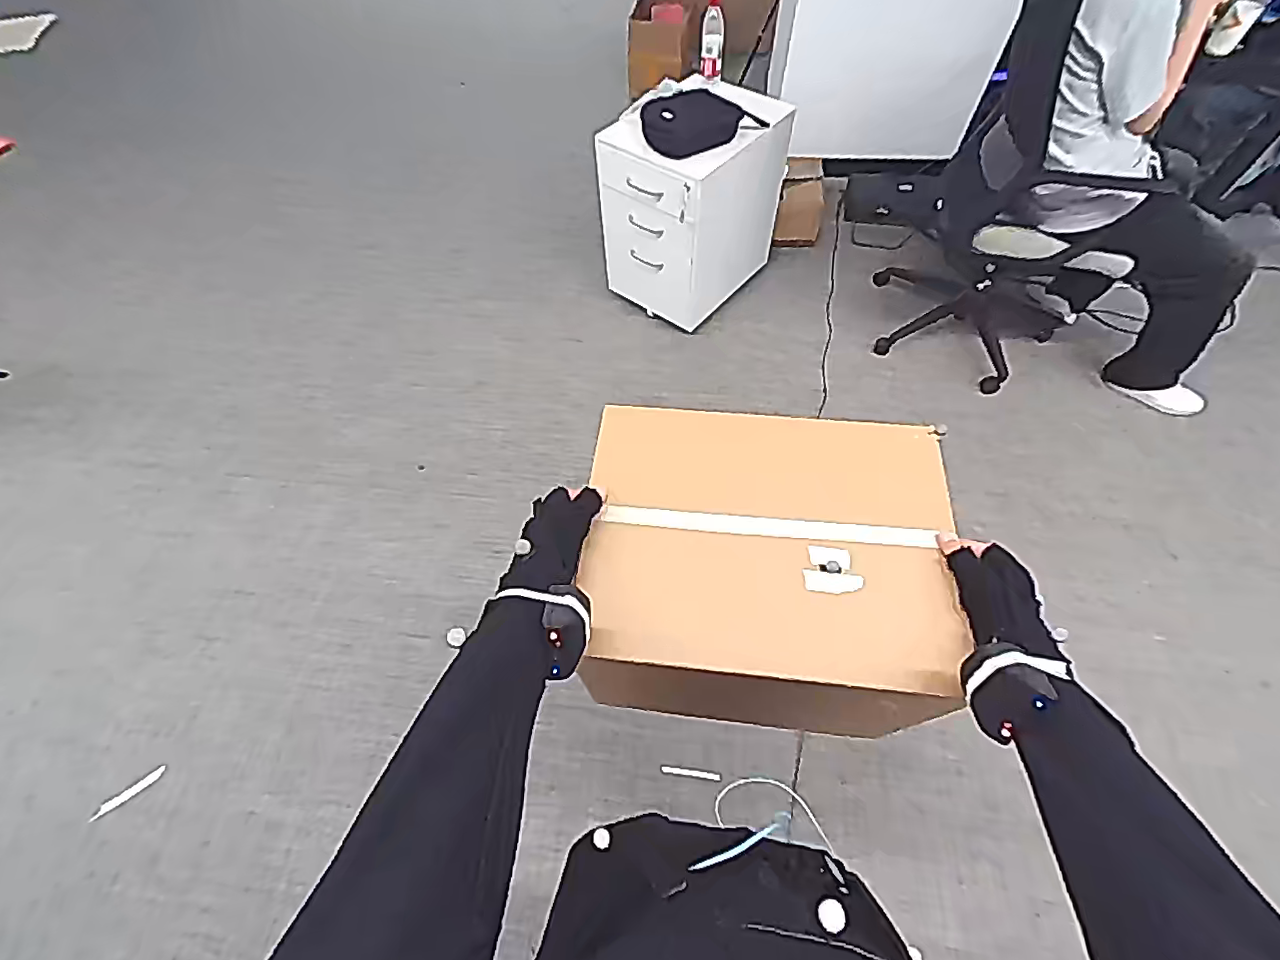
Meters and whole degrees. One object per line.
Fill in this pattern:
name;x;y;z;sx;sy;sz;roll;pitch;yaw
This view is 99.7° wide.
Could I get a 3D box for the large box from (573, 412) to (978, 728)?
large box;0.148;0.132;0.733;0.408;0.320;0.320;5;60;6
